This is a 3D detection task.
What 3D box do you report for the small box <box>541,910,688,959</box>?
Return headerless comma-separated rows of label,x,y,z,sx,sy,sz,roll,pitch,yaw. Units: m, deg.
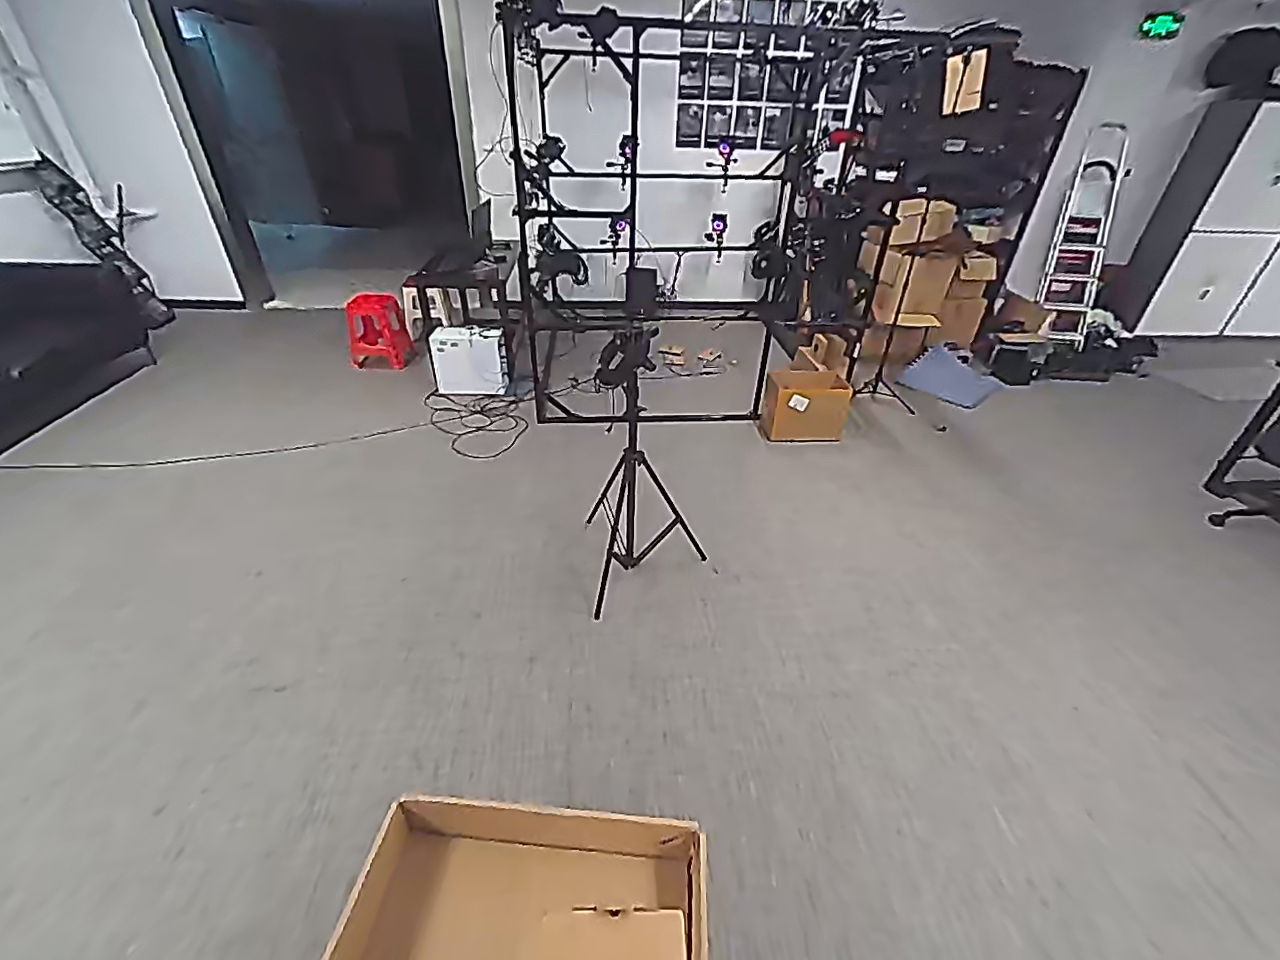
small box,-0.036,0.616,0.602,0.168,0.176,0.179,4,36,-4
